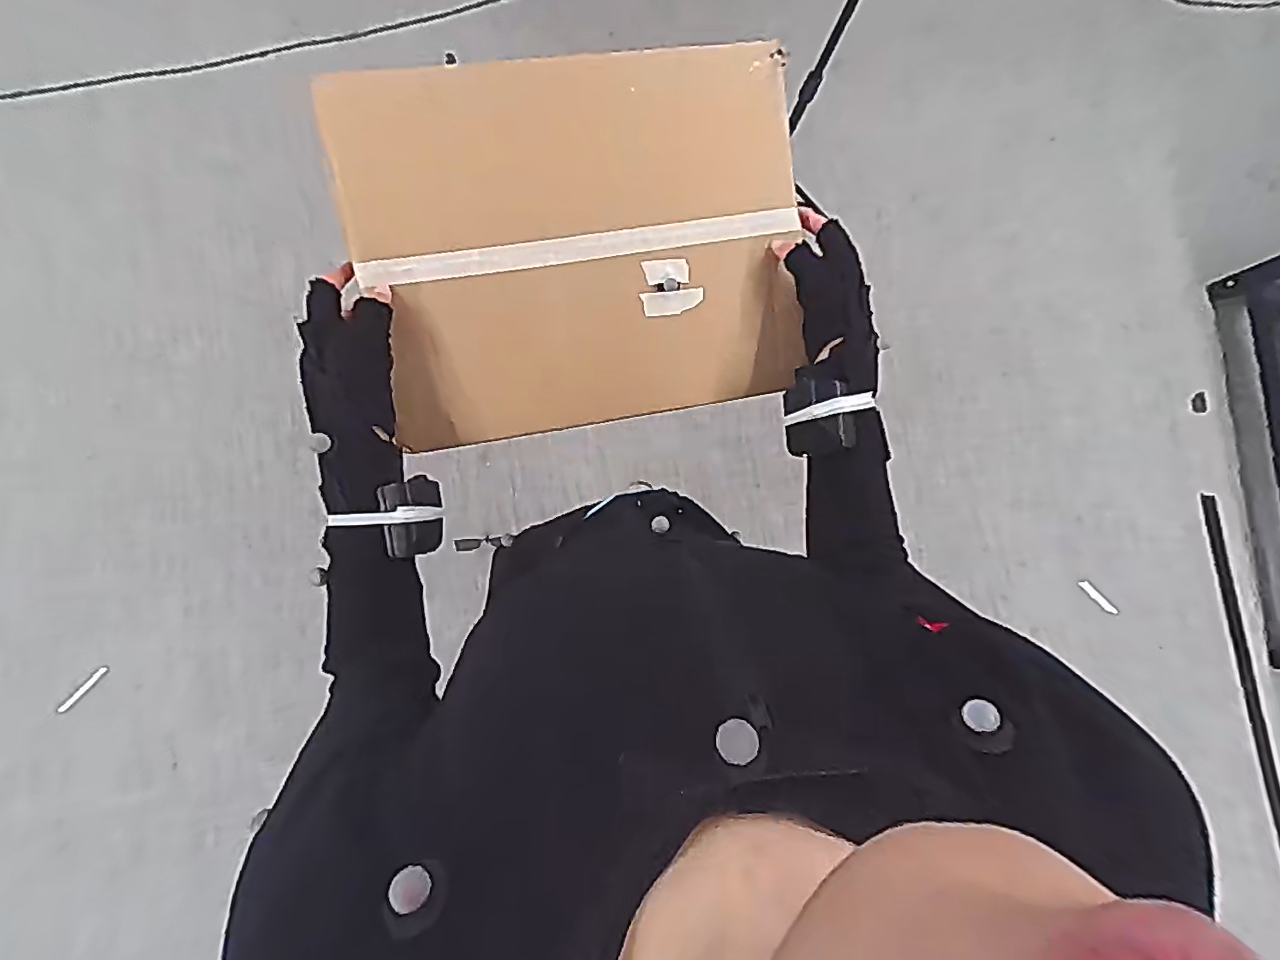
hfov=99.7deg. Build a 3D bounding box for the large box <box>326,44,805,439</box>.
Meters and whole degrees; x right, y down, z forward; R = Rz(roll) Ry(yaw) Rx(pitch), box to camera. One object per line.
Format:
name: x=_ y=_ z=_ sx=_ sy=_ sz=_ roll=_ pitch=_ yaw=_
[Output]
large box: x=-0.073 y=-0.241 z=0.645 sx=0.408 sy=0.320 sz=0.320 roll=-10 pitch=100 yaw=-9
